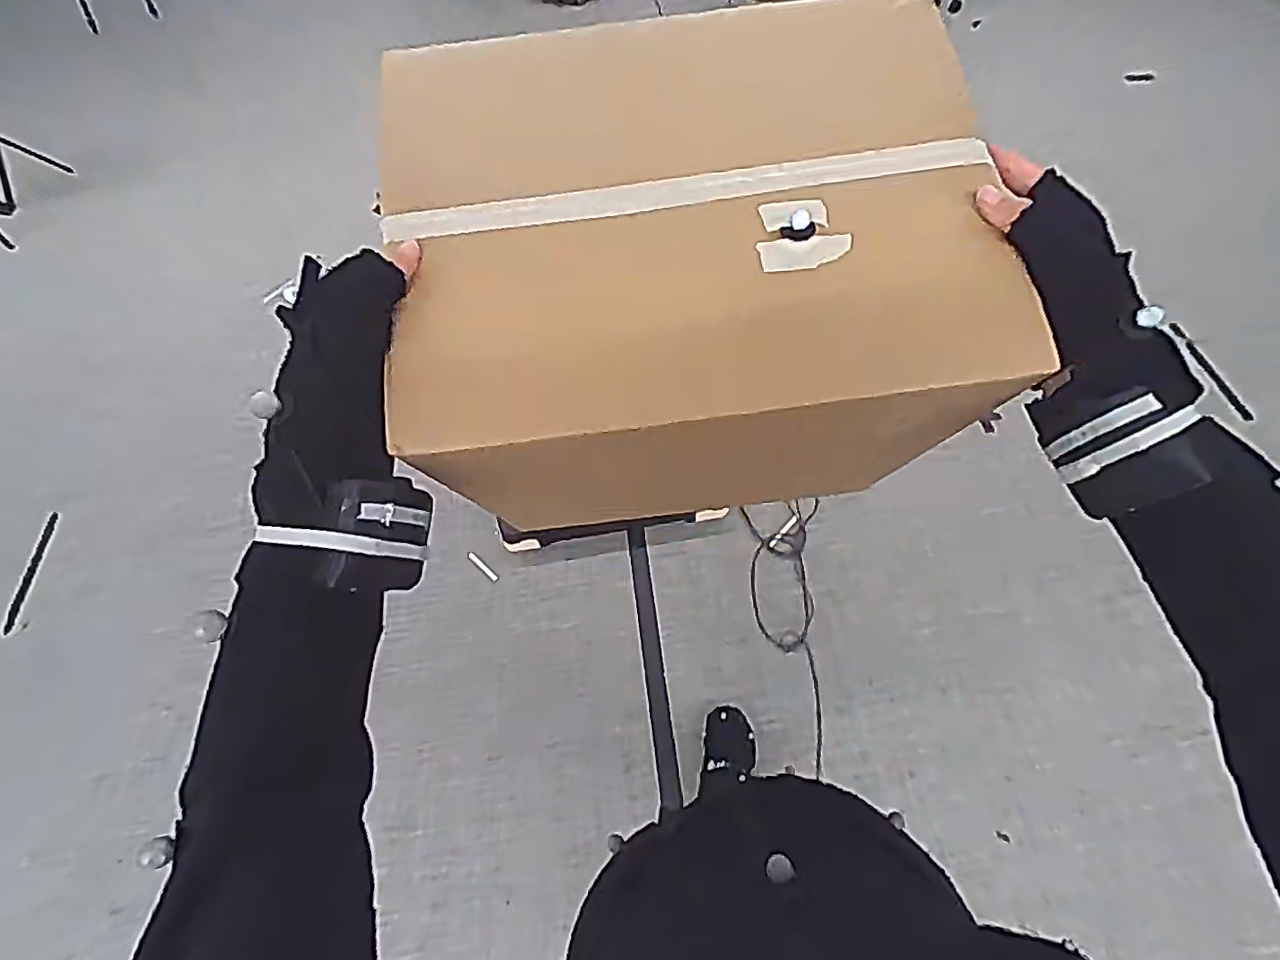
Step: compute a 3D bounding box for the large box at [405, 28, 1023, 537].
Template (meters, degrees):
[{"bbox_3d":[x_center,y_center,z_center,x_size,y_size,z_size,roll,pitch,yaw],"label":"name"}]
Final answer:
[{"bbox_3d":[0.036,-0.144,0.528,0.408,0.320,0.320,-8,75,0],"label":"large box"}]
